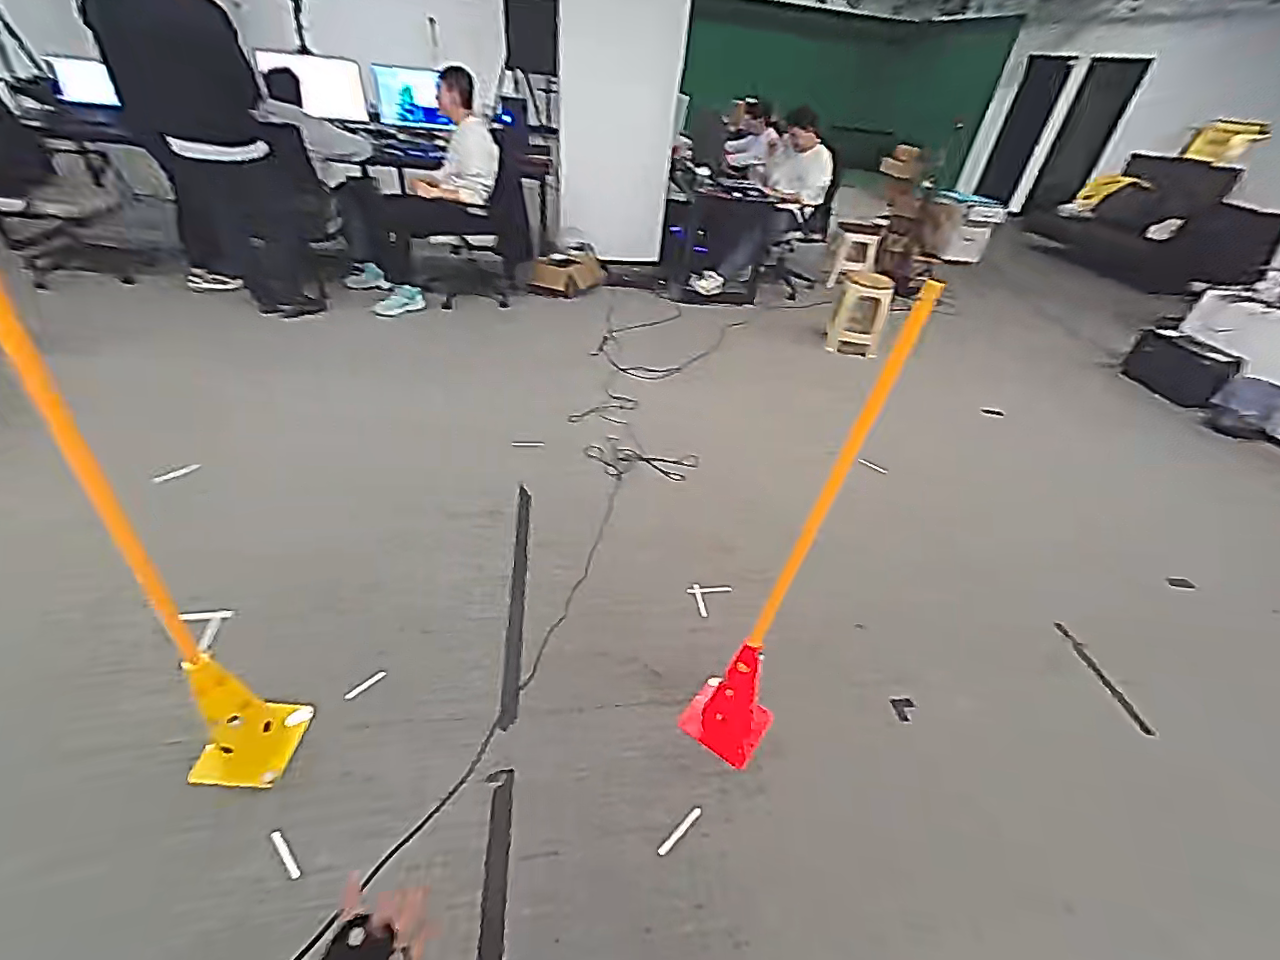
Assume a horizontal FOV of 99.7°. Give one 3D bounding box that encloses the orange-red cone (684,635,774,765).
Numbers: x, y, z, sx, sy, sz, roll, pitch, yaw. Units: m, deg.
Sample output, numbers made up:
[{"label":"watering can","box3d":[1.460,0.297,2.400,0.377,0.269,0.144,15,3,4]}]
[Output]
[{"label":"orange-red cone","box3d":[0.257,0.519,1.371,0.198,0.360,0.199,29,44,27]}]
